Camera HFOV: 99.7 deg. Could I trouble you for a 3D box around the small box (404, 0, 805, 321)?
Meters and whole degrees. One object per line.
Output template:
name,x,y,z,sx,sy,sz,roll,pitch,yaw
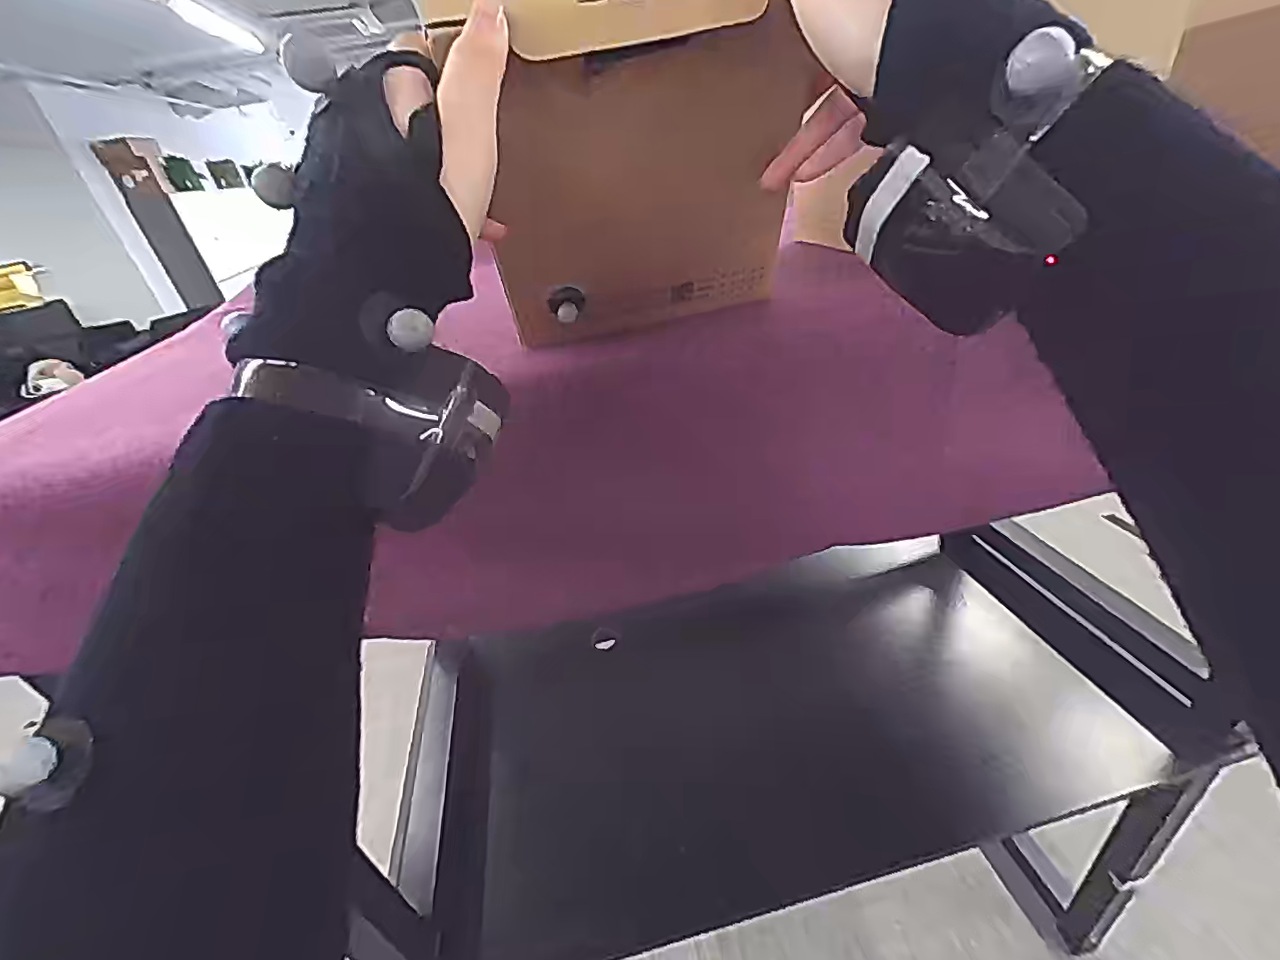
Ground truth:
small box,-0.020,-0.212,0.311,0.168,0.176,0.179,-13,57,-5

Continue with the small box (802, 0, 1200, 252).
small box,0.225,-0.268,0.383,0.168,0.176,0.179,-15,31,-6
